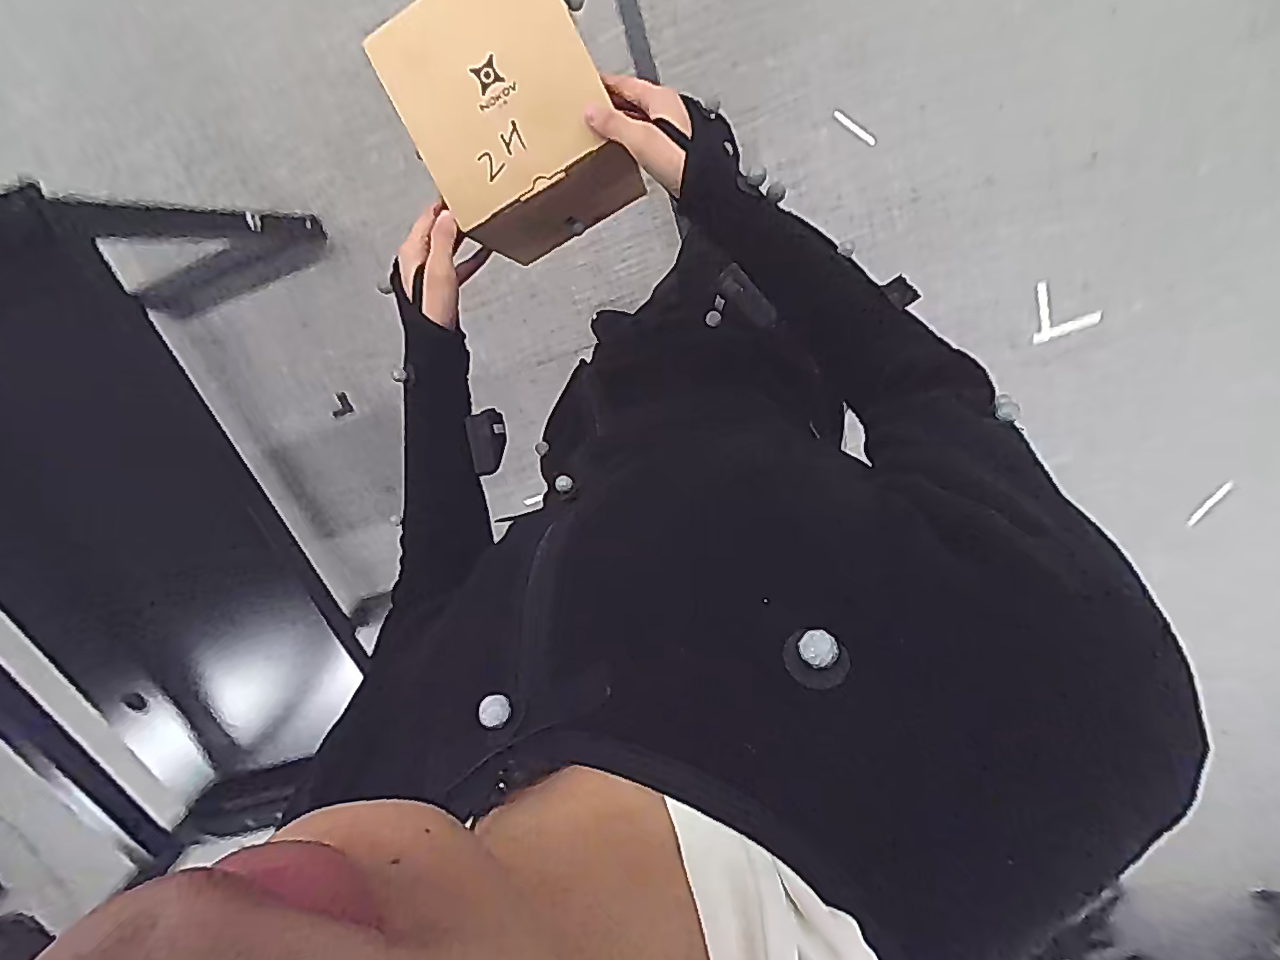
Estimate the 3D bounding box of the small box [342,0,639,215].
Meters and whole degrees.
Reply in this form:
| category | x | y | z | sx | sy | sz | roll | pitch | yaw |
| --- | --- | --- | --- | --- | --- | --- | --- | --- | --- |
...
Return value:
| category | x | y | z | sx | sy | sz | roll | pitch | yaw |
| --- | --- | --- | --- | --- | --- | --- | --- | --- | --- |
| small box | -0.115 | -0.357 | 0.453 | 0.168 | 0.176 | 0.179 | -25 | 100 | 12 |
